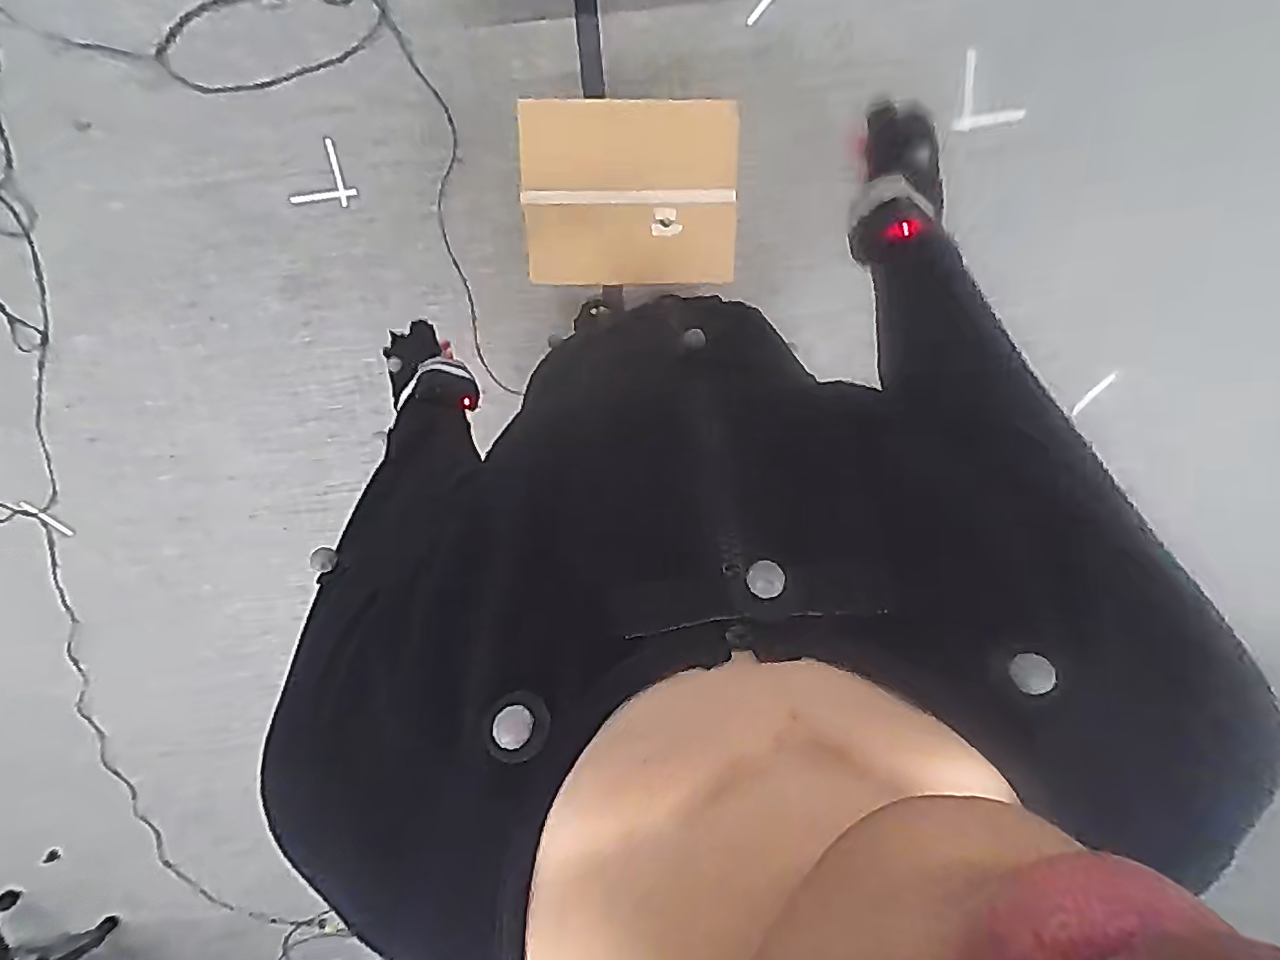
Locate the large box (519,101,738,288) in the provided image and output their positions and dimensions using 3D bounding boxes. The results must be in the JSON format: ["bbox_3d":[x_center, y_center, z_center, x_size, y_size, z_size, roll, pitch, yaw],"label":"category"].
[{"bbox_3d":[-0.027,-0.584,1.161,0.408,0.320,0.320,-2,110,-4],"label":"large box"}]
